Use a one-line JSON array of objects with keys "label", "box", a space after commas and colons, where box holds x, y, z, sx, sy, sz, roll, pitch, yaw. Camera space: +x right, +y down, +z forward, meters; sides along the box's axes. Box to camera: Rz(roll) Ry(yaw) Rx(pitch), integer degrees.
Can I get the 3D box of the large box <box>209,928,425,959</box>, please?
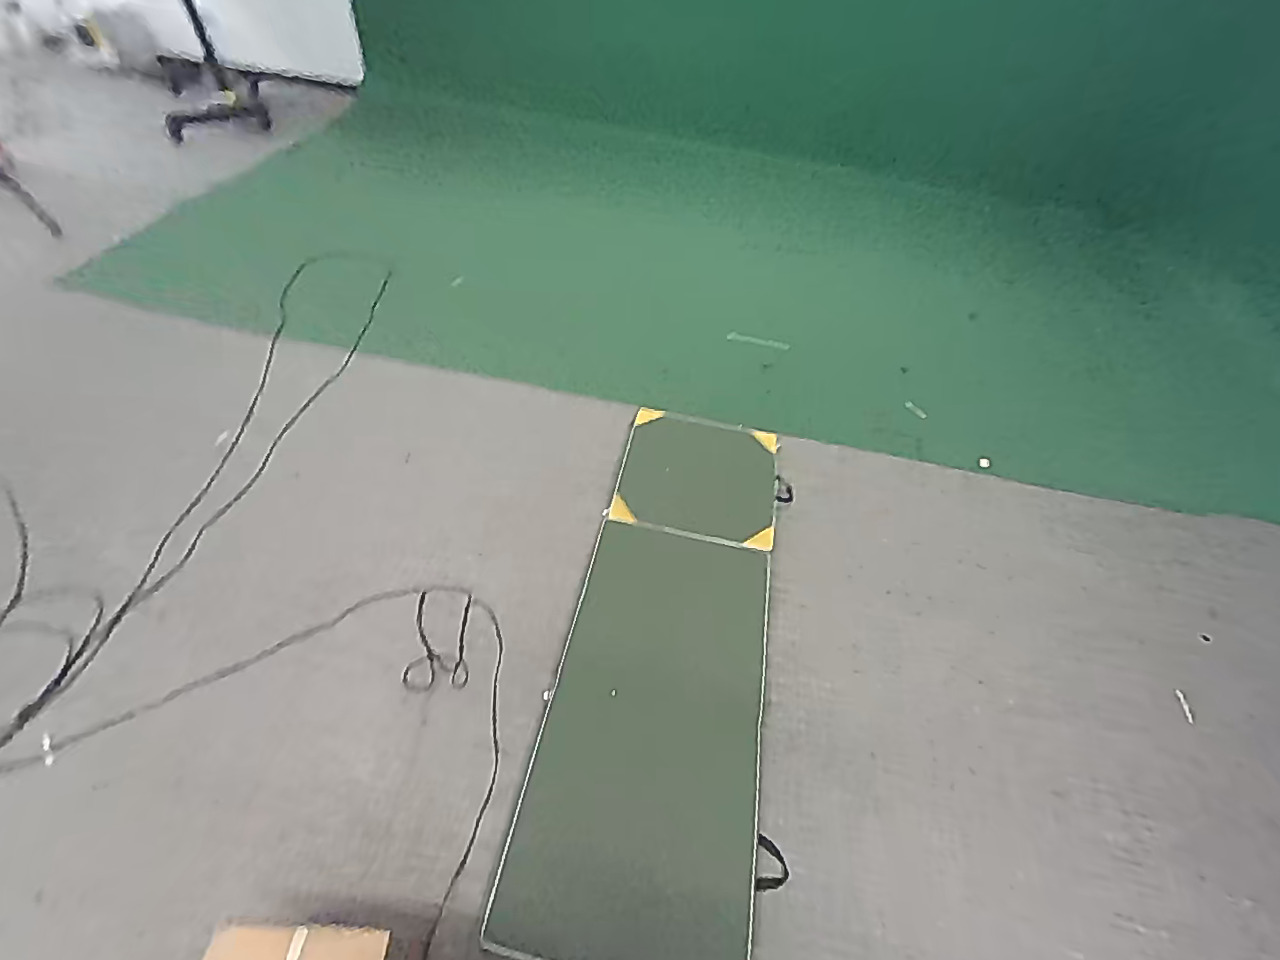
[{"label": "large box", "box": [-0.626, 1.076, 0.971, 0.320, 0.320, 0.408, 4, 48, -2]}]
